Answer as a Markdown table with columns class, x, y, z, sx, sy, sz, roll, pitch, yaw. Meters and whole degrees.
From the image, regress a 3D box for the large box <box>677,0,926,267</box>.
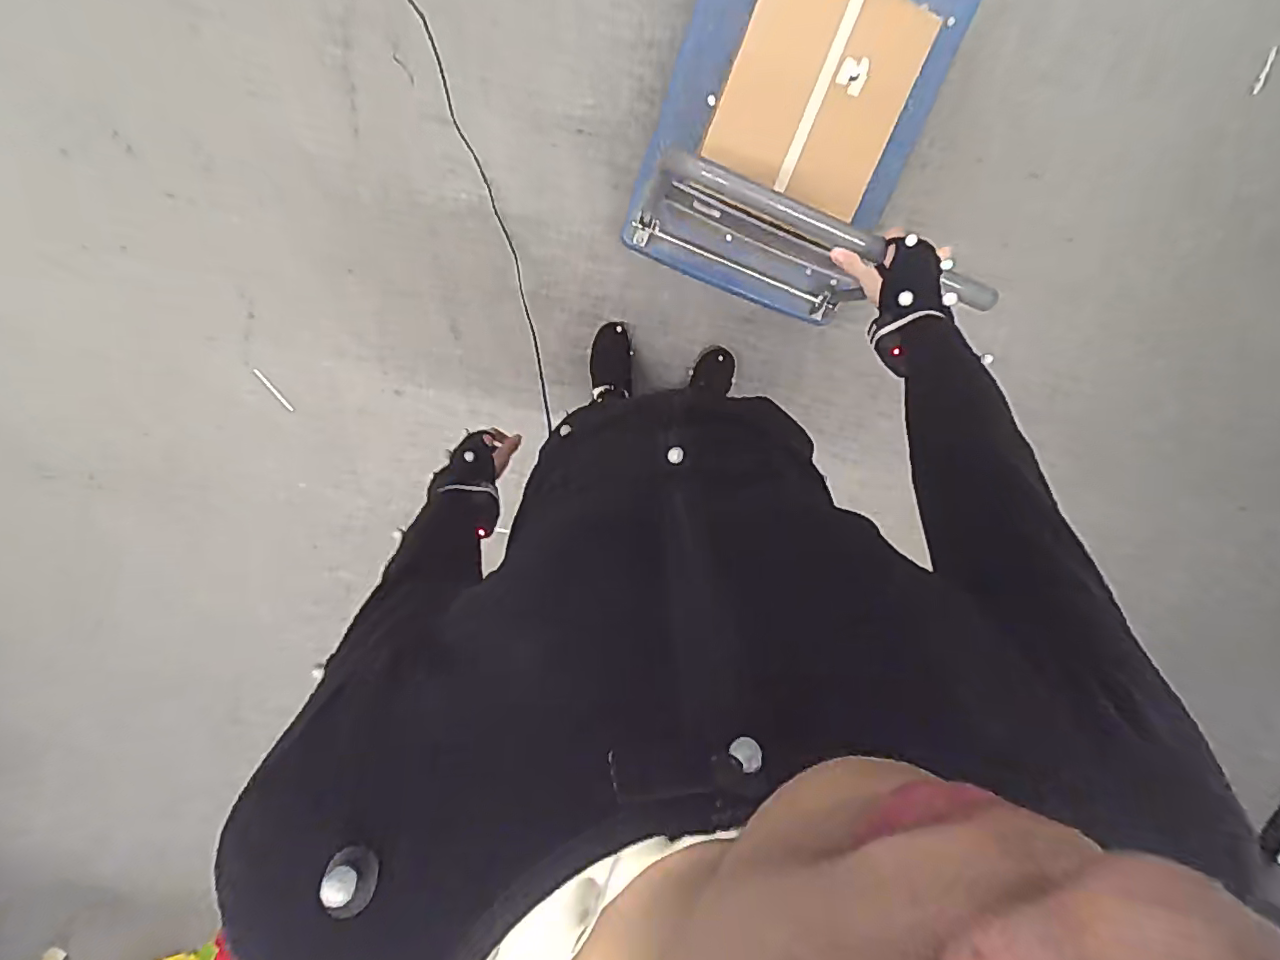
| class | x | y | z | sx | sy | sz | roll | pitch | yaw |
| --- | --- | --- | --- | --- | --- | --- | --- | --- | --- |
| large box | 0.296 | -0.713 | 1.130 | 0.320 | 0.320 | 0.408 | 20 | 103 | -8 |
